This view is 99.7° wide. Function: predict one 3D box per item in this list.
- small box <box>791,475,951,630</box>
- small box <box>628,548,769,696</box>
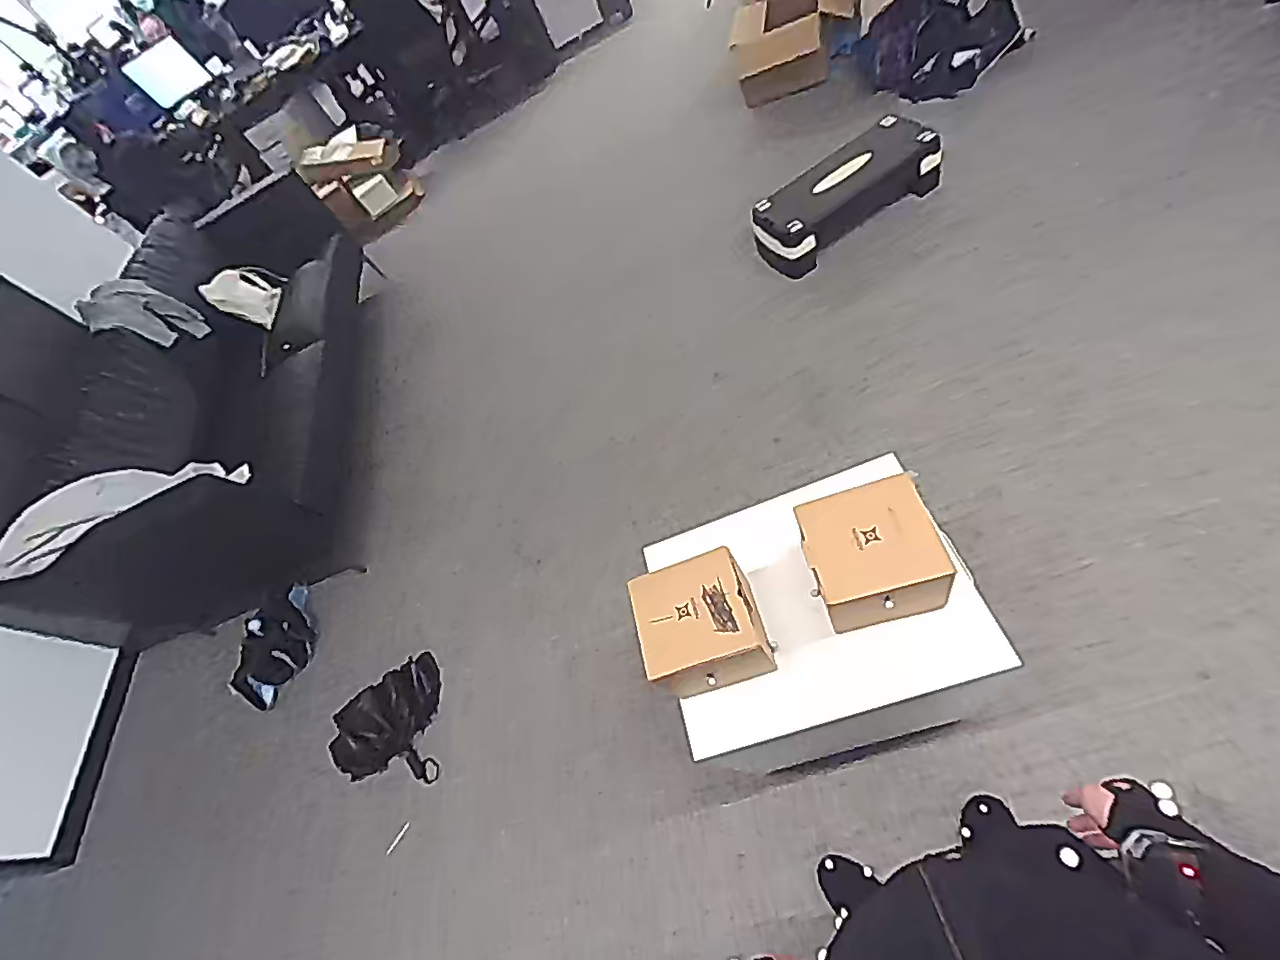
[{"bbox_3d":[0.355,0.122,0.844,0.179,0.176,0.168,-18,57,13],"label":"small box"},{"bbox_3d":[0.101,0.238,0.886,0.179,0.176,0.168,-22,54,12],"label":"small box"}]
